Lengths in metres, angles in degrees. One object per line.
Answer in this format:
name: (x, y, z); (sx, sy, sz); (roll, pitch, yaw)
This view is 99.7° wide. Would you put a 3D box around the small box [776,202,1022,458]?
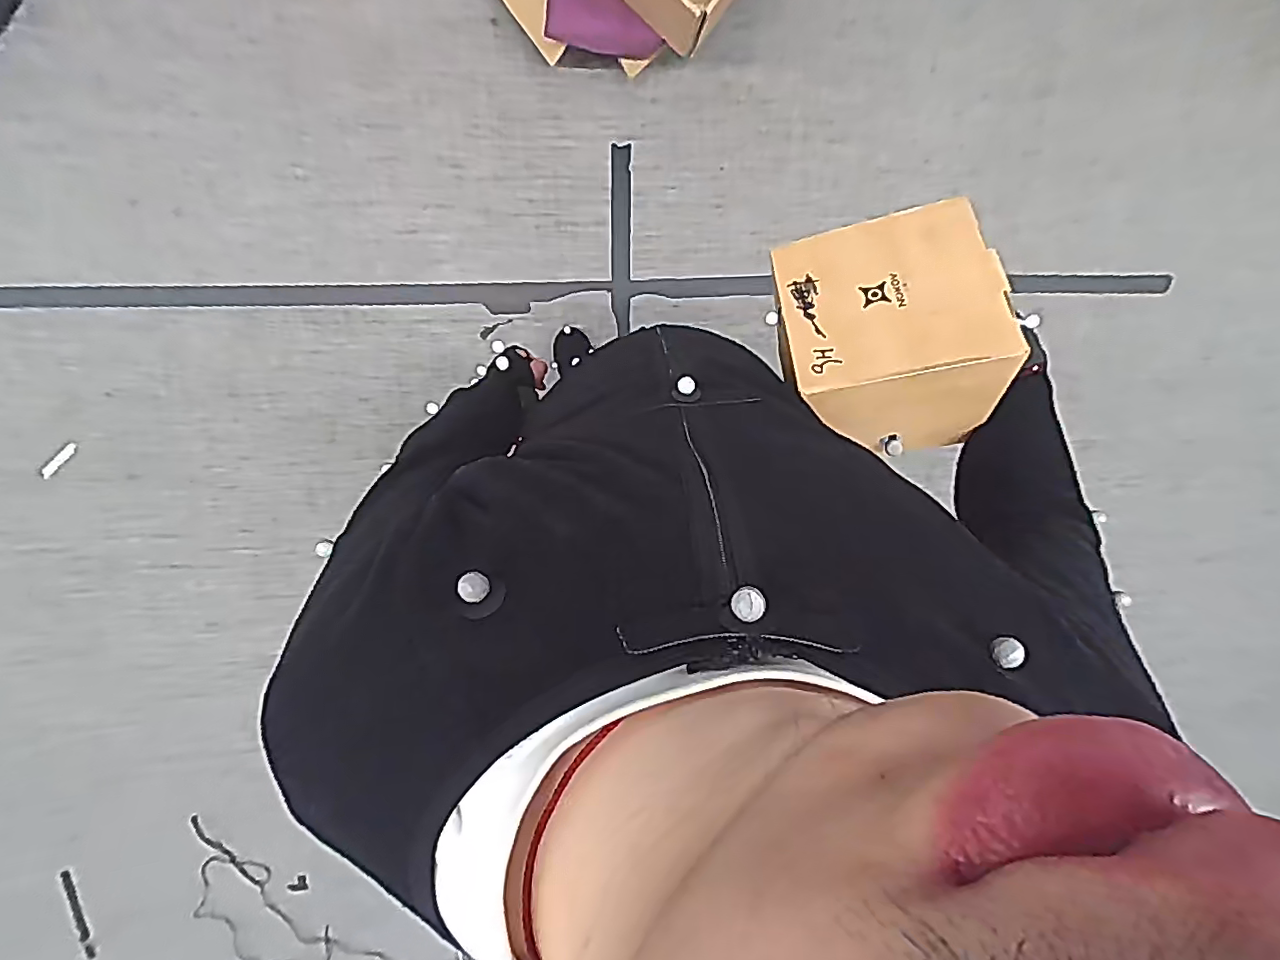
small box: (0.241, -0.137, 0.553); (0.179, 0.176, 0.168); (-10, 66, 14)
